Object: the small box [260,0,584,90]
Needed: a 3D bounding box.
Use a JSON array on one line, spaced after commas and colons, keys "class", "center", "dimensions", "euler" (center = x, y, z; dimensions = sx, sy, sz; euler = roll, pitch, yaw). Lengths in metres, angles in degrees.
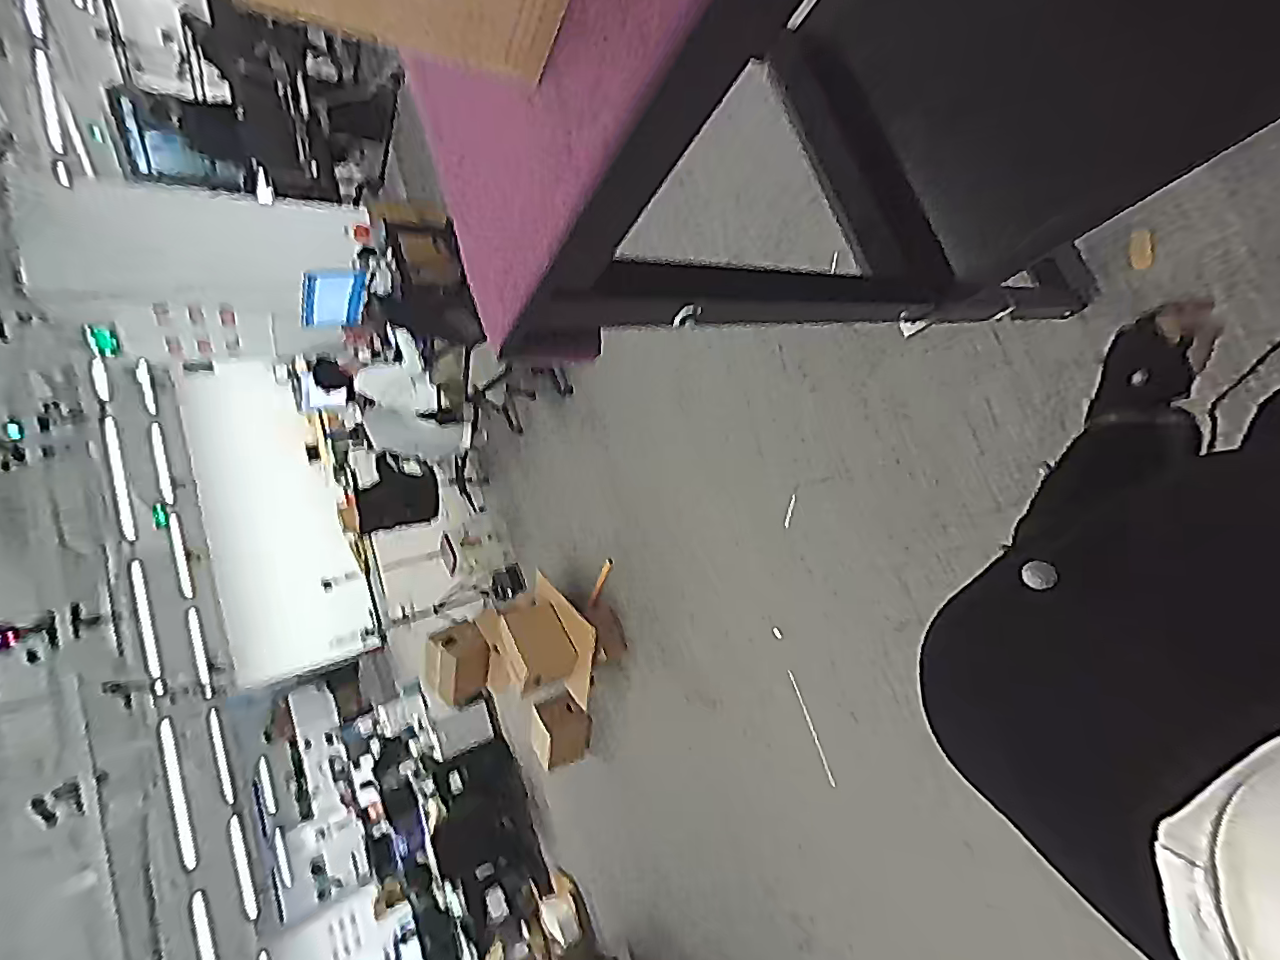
[{"class": "small box", "center": [-0.112, -0.351, 0.274], "dimensions": [0.179, 0.176, 0.168], "euler": [-38, 69, 53]}]
